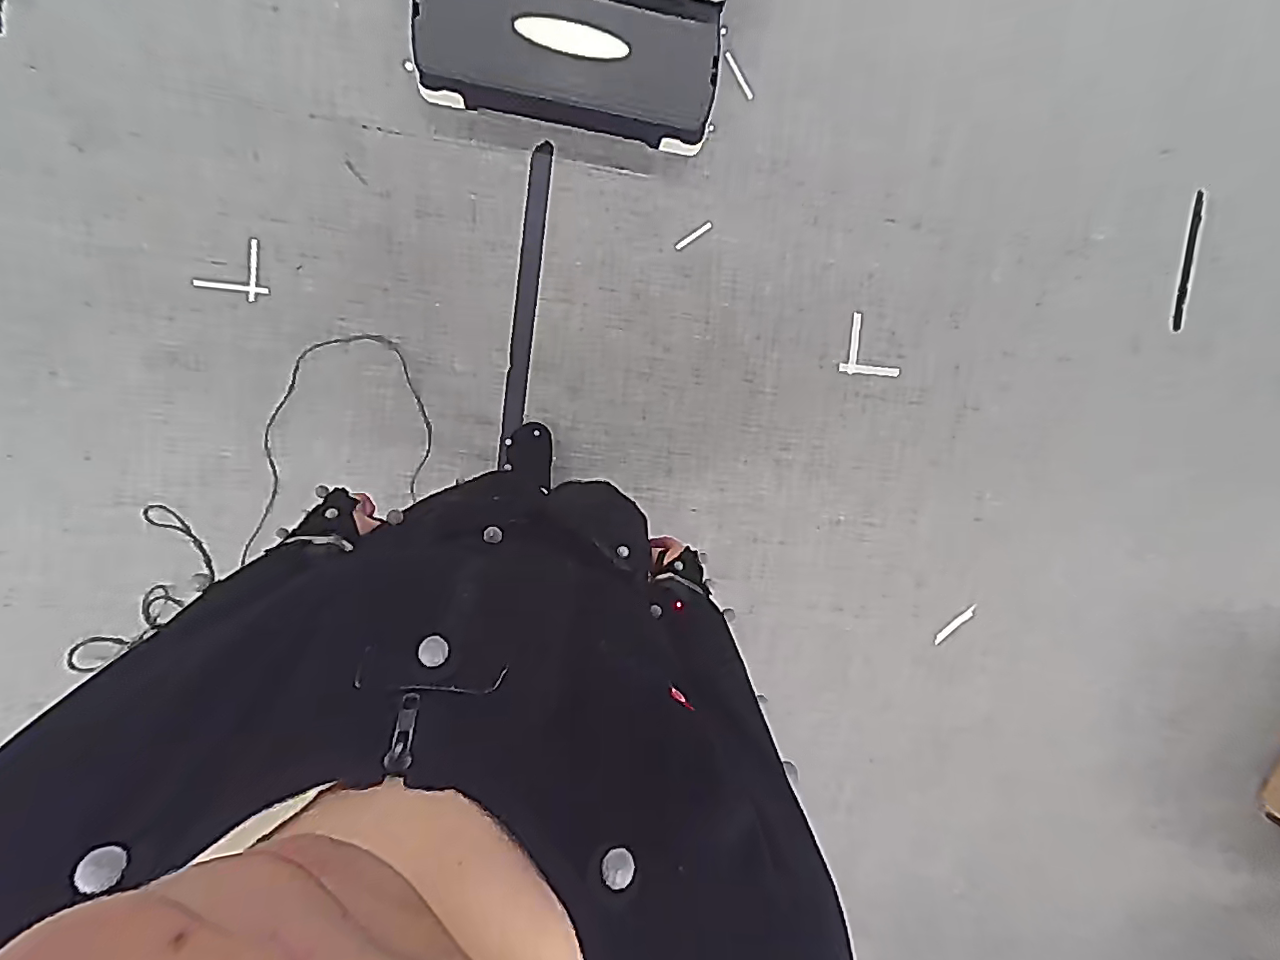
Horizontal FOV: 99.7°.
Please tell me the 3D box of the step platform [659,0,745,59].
[{"bbox_3d":[-0.079,-1.210,1.177,0.684,0.204,0.286,11,93,-10],"label":"step platform"}]
